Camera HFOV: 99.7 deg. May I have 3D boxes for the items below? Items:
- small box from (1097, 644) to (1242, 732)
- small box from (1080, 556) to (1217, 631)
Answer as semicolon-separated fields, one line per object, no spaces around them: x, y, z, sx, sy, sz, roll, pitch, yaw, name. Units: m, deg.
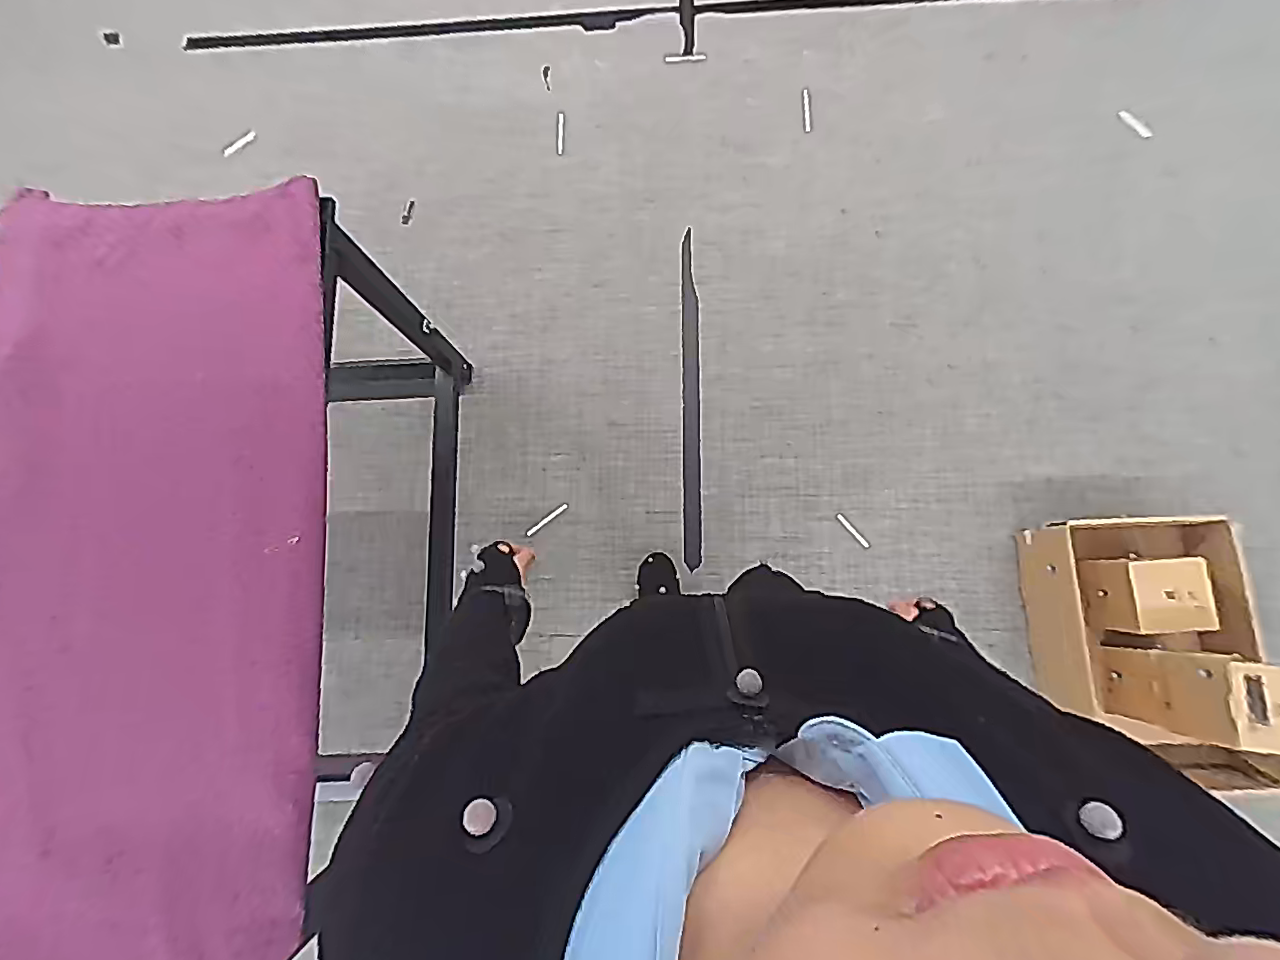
1.249;0.487;1.289;0.179;0.176;0.168;2;78;4;small box
1.224;0.275;1.322;0.179;0.176;0.168;-4;82;2;small box
